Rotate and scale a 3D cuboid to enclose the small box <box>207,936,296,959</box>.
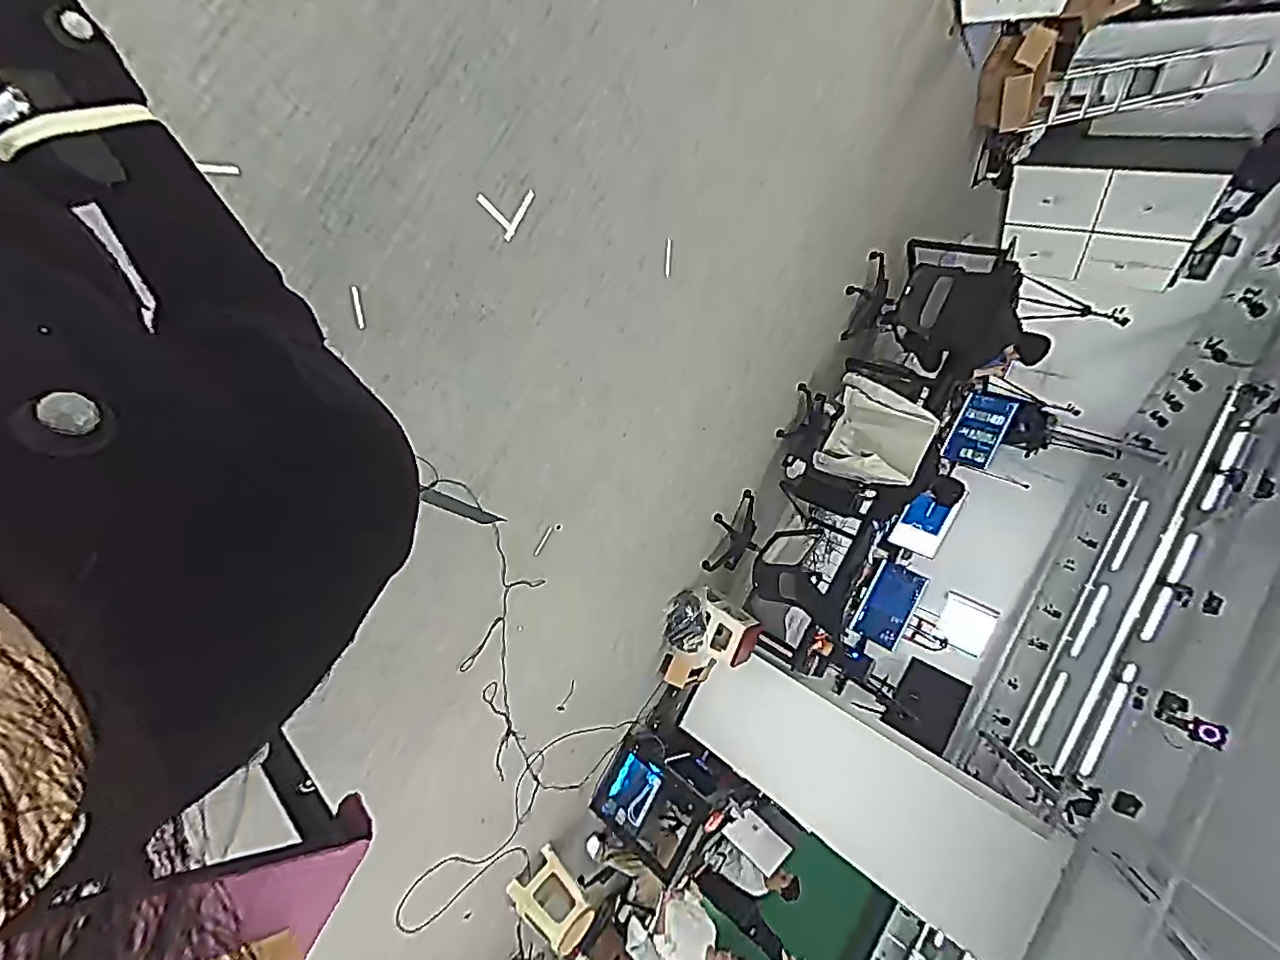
[{"bbox_3d":[-0.718,0.960,0.949,0.168,0.176,0.179,29,88,-57],"label":"small box"}]
